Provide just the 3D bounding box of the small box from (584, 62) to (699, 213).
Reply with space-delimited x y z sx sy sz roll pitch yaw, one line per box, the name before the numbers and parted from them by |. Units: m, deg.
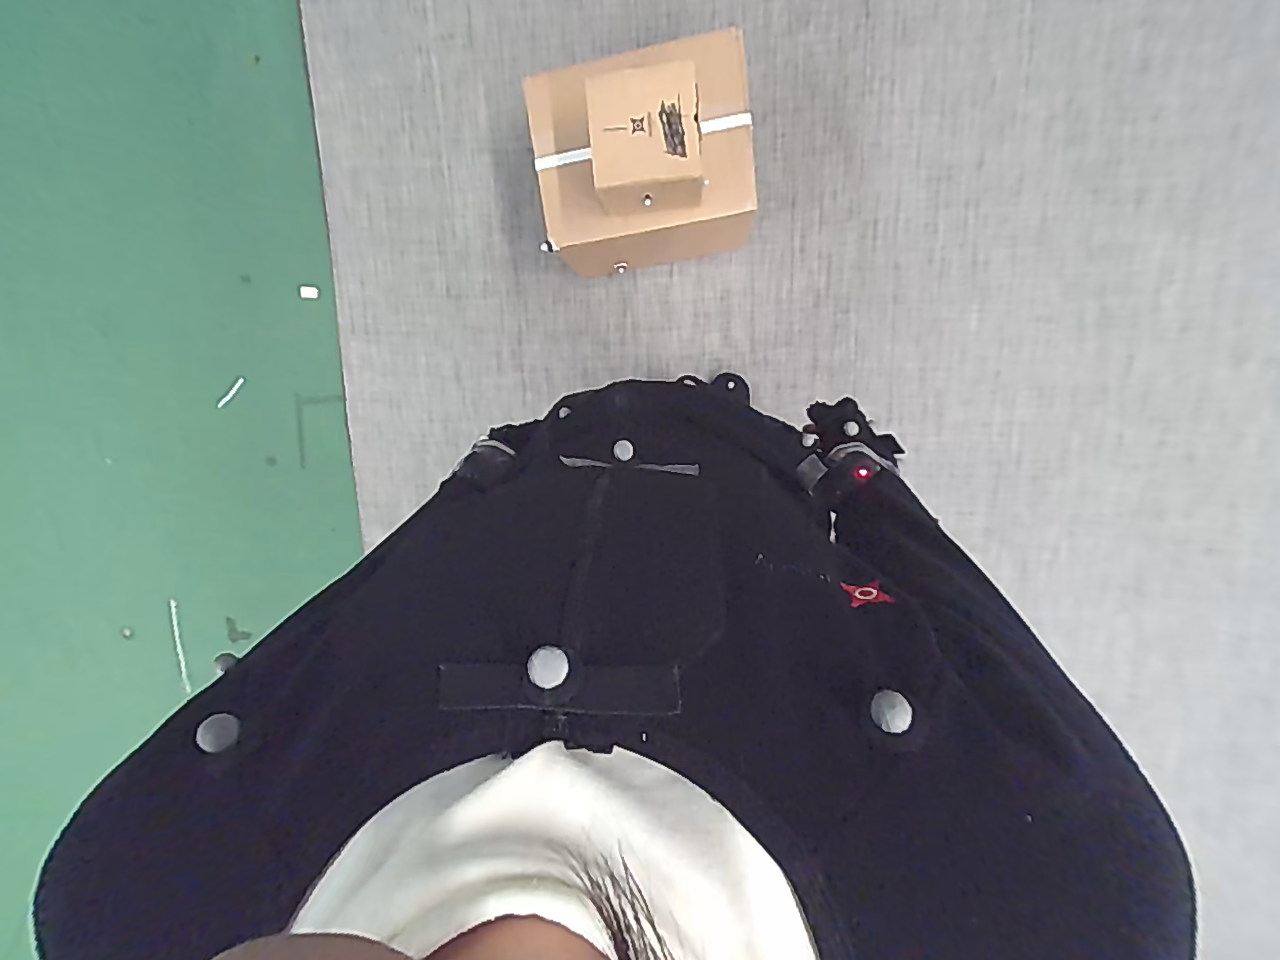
small box | 0.011 -0.577 0.934 0.179 0.176 0.168 -3 101 8
